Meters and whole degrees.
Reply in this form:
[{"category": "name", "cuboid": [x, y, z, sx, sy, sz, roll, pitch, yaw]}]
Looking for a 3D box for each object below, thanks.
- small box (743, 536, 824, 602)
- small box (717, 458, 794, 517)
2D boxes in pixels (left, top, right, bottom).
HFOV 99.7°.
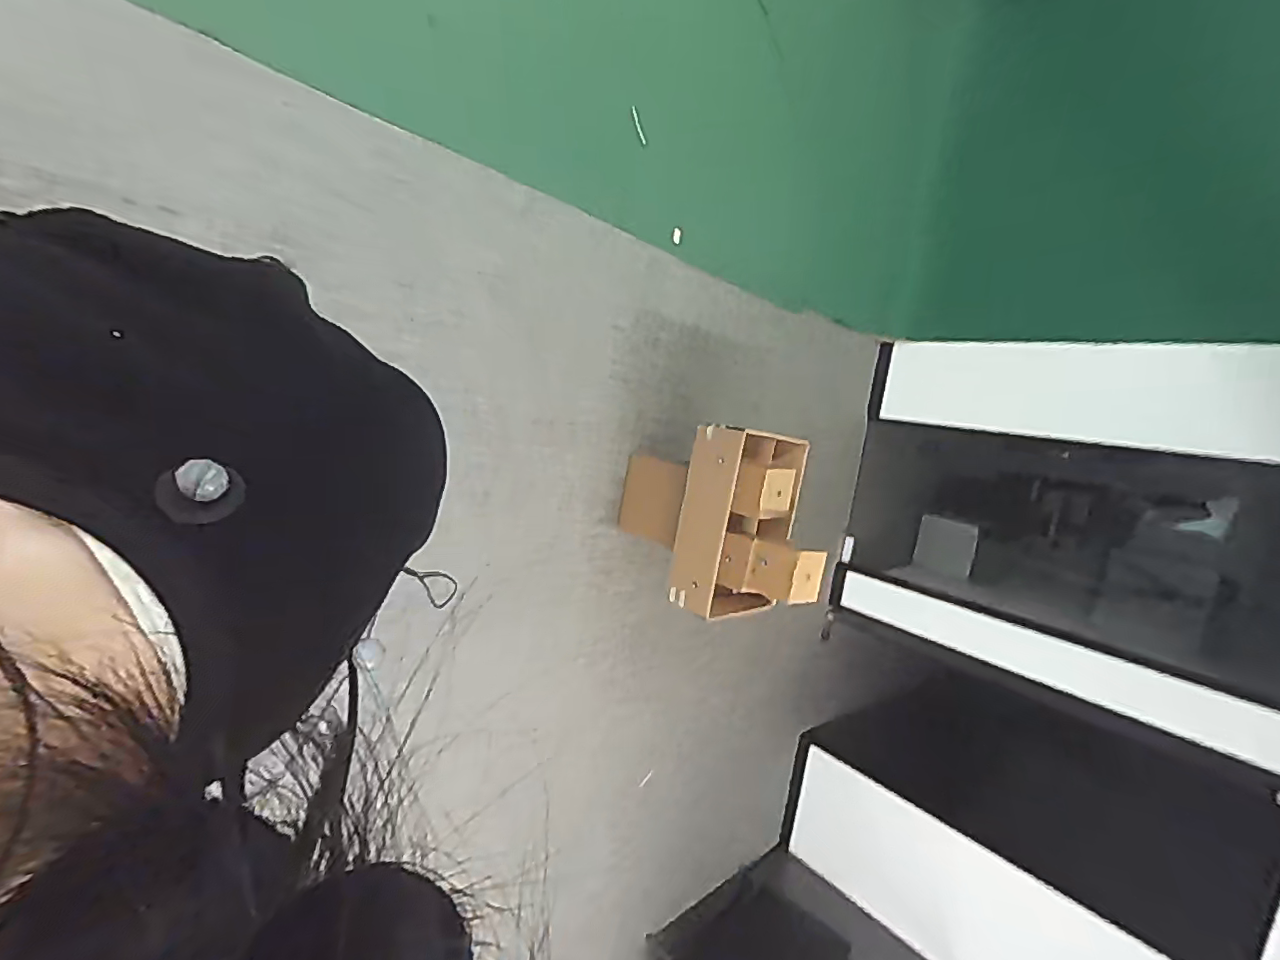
[{"category": "small box", "cuboid": [0.458, 0.279, 1.730, 0.179, 0.176, 0.168, 8, 95, -44]}, {"category": "small box", "cuboid": [0.386, 0.020, 1.815, 0.179, 0.176, 0.168, -1, 102, -43]}]
